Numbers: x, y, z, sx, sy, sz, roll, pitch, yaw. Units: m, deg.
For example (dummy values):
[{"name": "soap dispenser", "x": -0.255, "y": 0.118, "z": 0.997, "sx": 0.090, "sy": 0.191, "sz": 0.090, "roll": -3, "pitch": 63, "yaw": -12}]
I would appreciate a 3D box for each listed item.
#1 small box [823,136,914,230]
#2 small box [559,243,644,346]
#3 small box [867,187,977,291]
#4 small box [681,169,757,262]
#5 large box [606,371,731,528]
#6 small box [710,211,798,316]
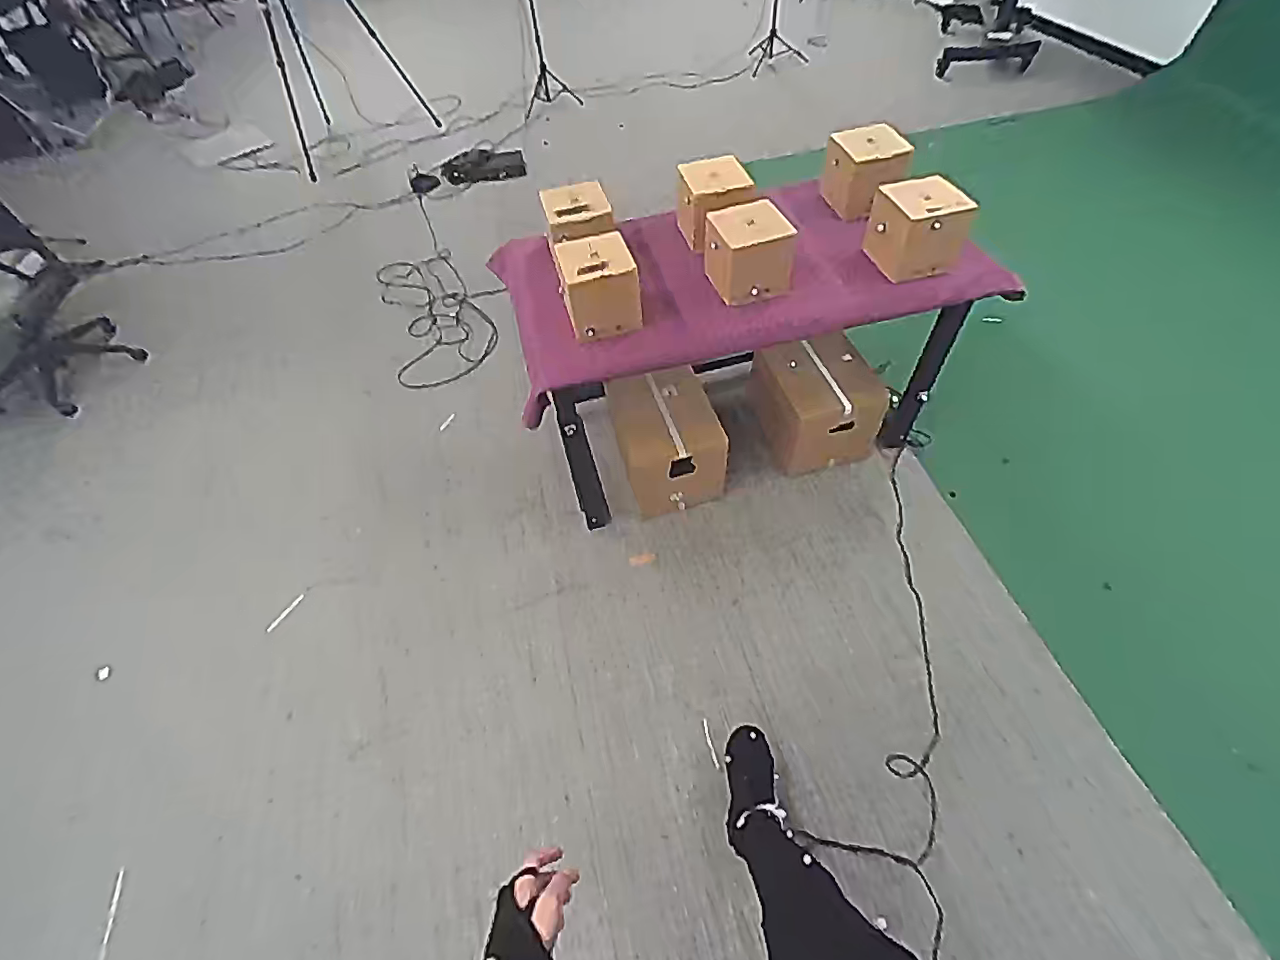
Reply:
[{"name": "small box", "x": 0.646, "y": -0.854, "z": 1.558, "sx": 0.168, "sy": 0.176, "sz": 0.179, "roll": -14, "pitch": 54, "yaw": -2}, {"name": "small box", "x": -0.092, "y": -0.448, "z": 1.327, "sx": 0.168, "sy": 0.176, "sz": 0.179, "roll": -15, "pitch": 52, "yaw": -6}, {"name": "small box", "x": 0.700, "y": -0.608, "z": 1.369, "sx": 0.168, "sy": 0.176, "sz": 0.179, "roll": -13, "pitch": 51, "yaw": -2}, {"name": "small box", "x": 0.213, "y": -0.744, "z": 1.524, "sx": 0.168, "sy": 0.176, "sz": 0.179, "roll": -13, "pitch": 54, "yaw": -5}, {"name": "large box", "x": 0.096, "y": -0.105, "z": 1.883, "sx": 0.320, "sy": 0.320, "sz": 0.408, "roll": -15, "pitch": 52, "yaw": -7}, {"name": "small box", "x": 0.278, "y": -0.545, "z": 1.367, "sx": 0.168, "sy": 0.176, "sz": 0.179, "roll": -15, "pitch": 53, "yaw": -5}]
